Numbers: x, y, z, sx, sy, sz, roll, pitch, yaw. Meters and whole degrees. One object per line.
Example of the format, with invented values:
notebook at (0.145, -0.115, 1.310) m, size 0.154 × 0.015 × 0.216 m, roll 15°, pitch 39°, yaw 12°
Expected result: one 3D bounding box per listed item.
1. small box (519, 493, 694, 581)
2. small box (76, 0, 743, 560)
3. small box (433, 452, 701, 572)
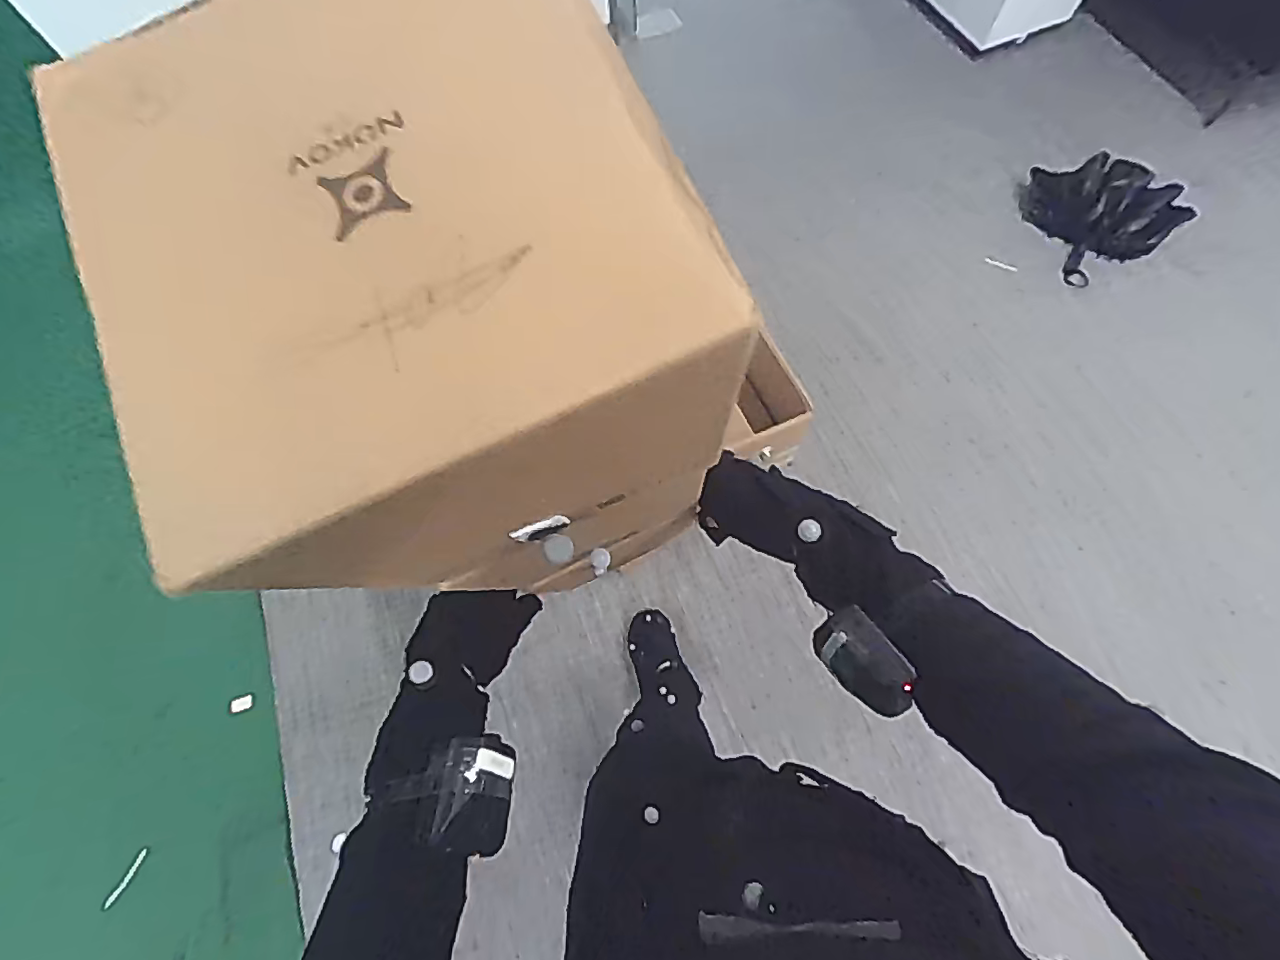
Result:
small box at (-0.056, -0.006, 0.562) m, size 0.168 × 0.176 × 0.179 m, roll -26°, pitch 78°, yaw -1°
small box at (-0.073, -0.074, 0.243) m, size 0.168 × 0.176 × 0.179 m, roll -25°, pitch 79°, yaw 0°
small box at (-0.068, -0.042, 0.401) m, size 0.168 × 0.176 × 0.179 m, roll -25°, pitch 79°, yaw -1°
